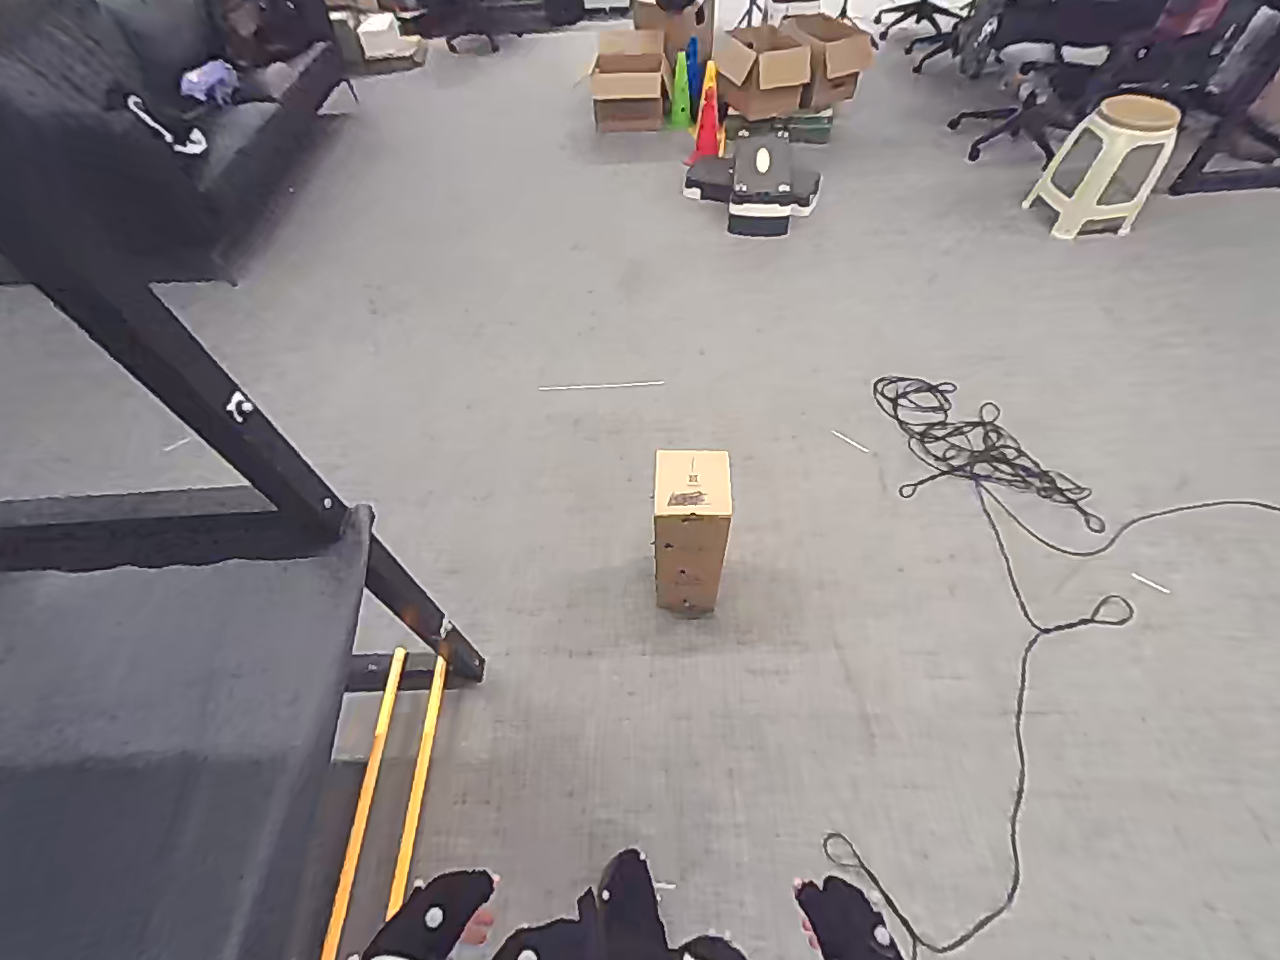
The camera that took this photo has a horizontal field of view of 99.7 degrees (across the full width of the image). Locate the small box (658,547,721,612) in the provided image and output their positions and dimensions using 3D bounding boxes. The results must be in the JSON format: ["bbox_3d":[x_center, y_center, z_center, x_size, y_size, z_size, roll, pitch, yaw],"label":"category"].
[{"bbox_3d":[0.138,0.250,1.510,0.168,0.176,0.179,2,55,6],"label":"small box"}]

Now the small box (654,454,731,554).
[{"bbox_3d":[0.120,0.058,1.246,0.168,0.176,0.179,1,54,4],"label":"small box"}]
